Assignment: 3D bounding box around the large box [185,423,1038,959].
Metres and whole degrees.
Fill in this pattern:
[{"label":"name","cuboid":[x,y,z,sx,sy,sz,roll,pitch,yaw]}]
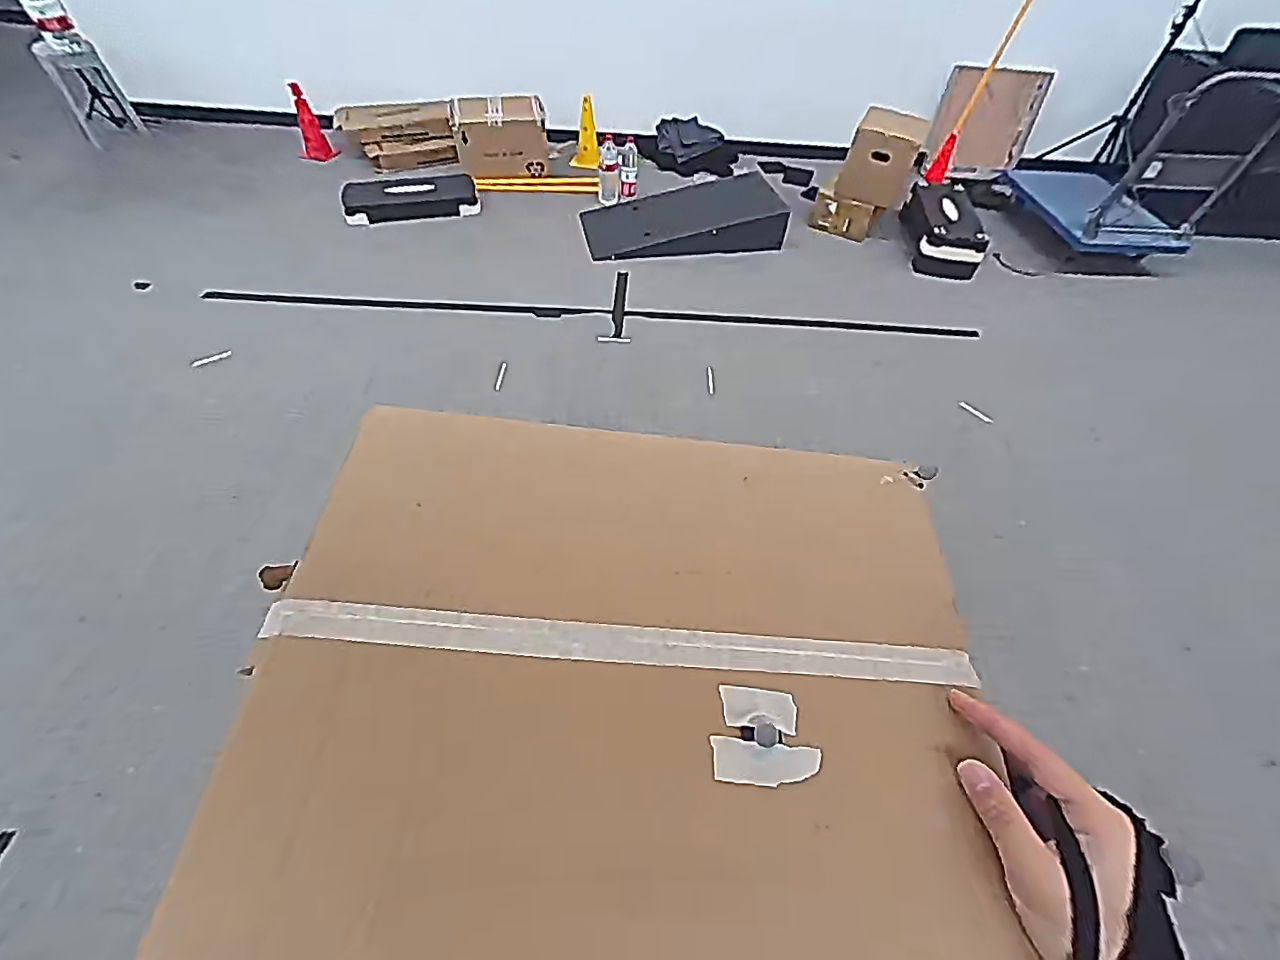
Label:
[{"label":"large box","cuboid":[-0.015,0.183,0.450,0.408,0.320,0.320,6,57,-5]}]
